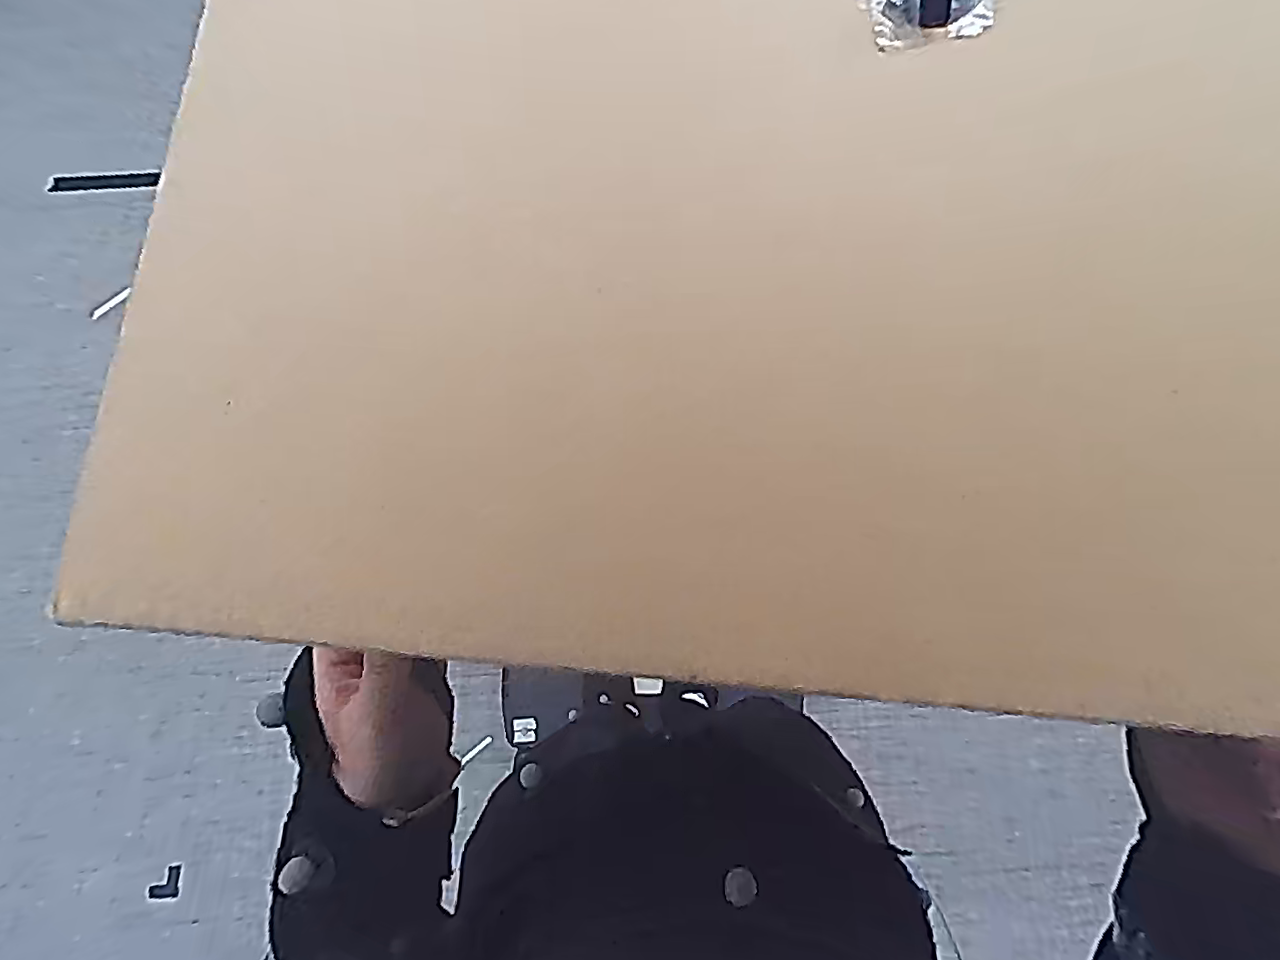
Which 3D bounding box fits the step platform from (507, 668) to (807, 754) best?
[{"bbox_3d":[0.037,0.458,1.273,0.684,0.204,0.286,3,79,0],"label":"step platform"}]
